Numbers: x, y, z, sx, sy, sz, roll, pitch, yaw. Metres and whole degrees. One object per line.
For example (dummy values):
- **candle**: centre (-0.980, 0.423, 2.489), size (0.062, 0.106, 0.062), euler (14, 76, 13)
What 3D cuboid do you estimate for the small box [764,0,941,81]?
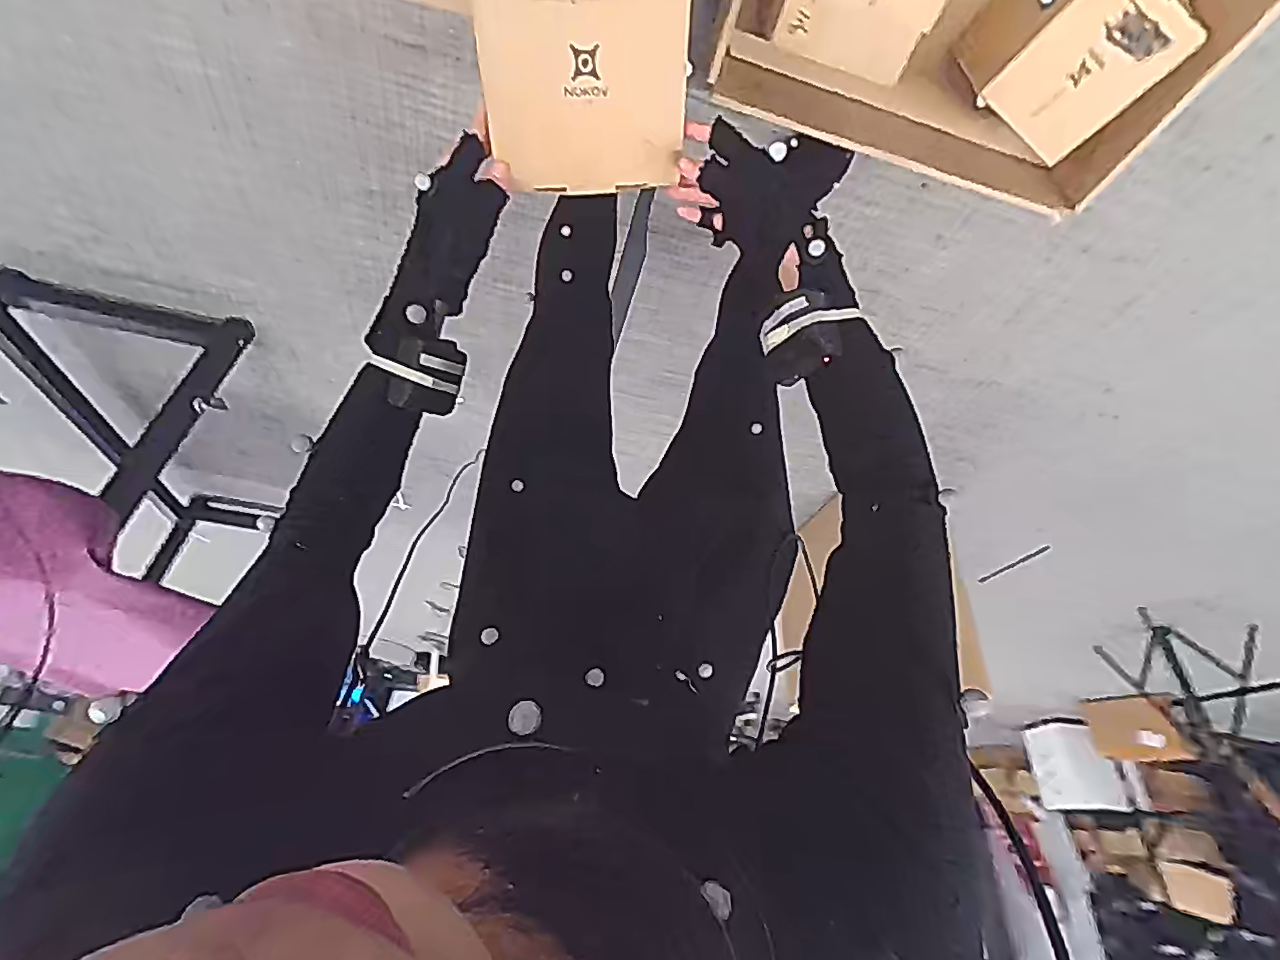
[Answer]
- **small box**: centre (0.266, -0.631, 0.650), size (0.179, 0.176, 0.168), euler (10, 145, -11)

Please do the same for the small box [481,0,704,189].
- **small box**: centre (-0.047, -0.377, 0.477), size (0.168, 0.176, 0.179), euler (-7, 133, -8)

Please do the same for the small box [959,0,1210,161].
- **small box**: centre (0.555, -0.574, 0.699), size (0.168, 0.176, 0.179), euler (23, 143, -23)
